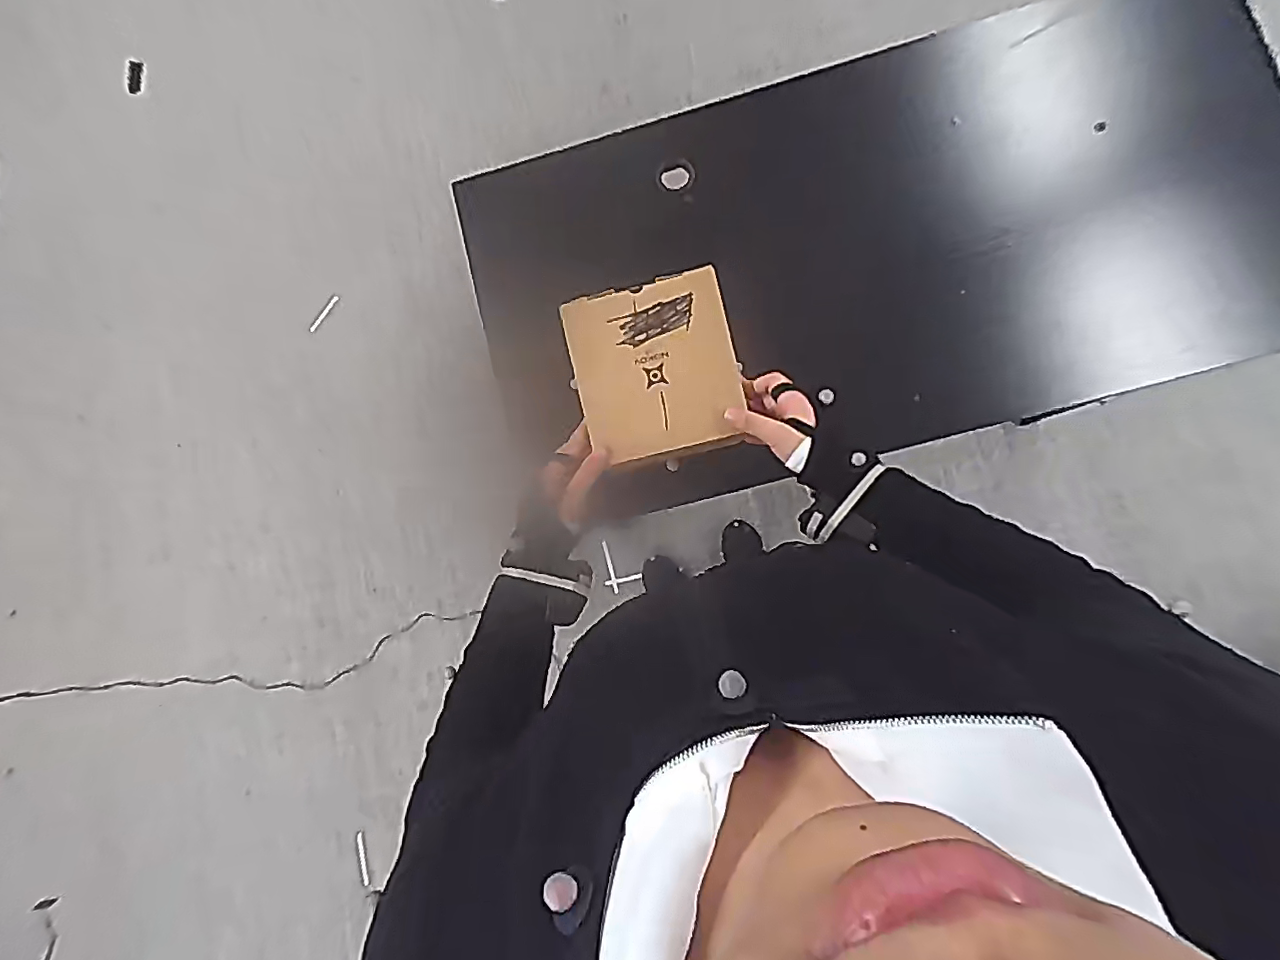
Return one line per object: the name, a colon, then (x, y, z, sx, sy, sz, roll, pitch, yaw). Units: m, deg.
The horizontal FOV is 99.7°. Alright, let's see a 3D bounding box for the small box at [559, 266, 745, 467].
small box: (0.016, -0.118, 0.638, 0.168, 0.176, 0.179, -14, 89, 5)
